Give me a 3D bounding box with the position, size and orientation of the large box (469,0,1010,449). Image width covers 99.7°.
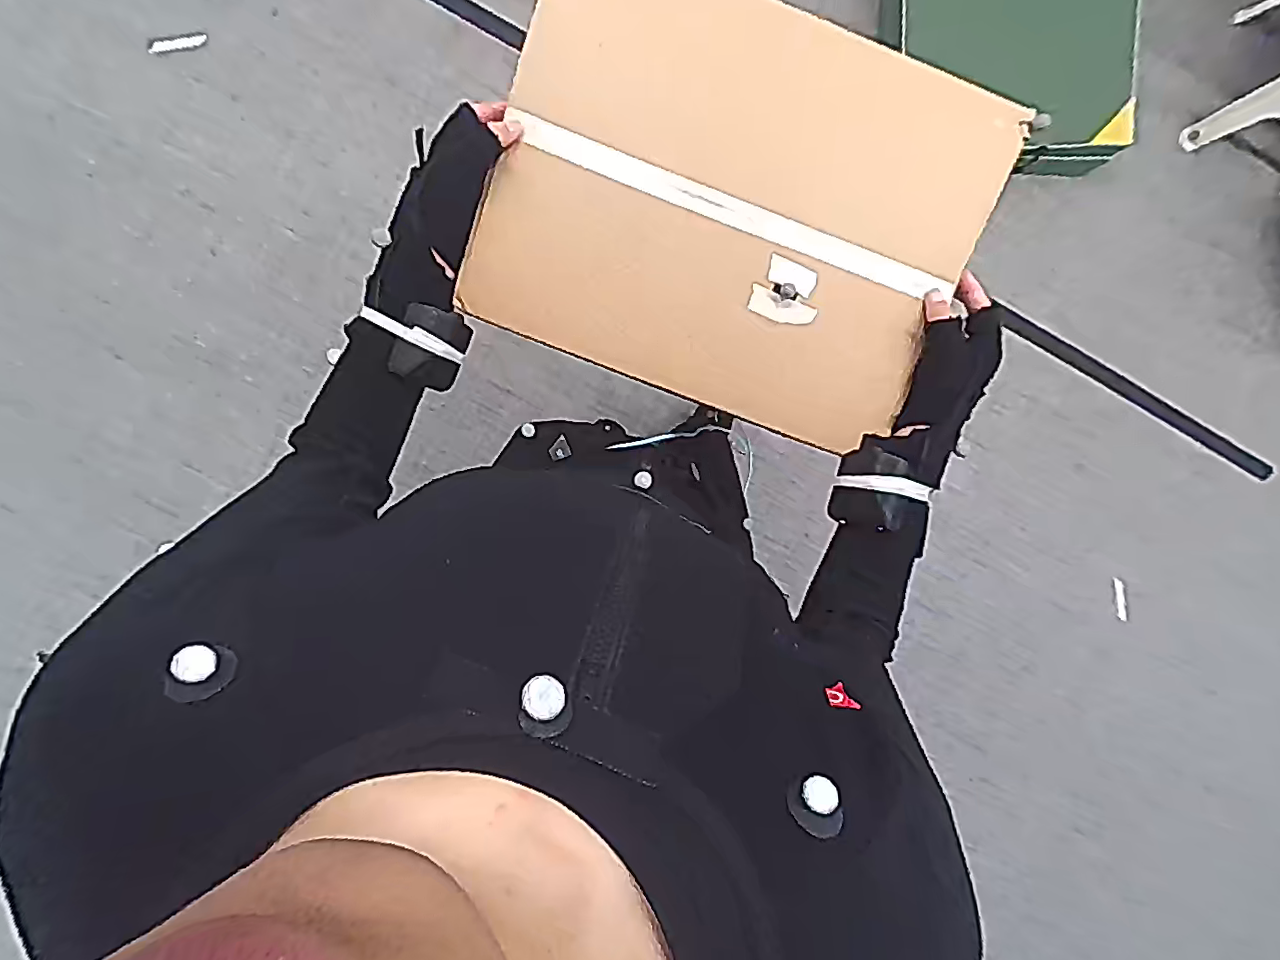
[{"bbox_3d":[0.077,-0.259,0.616,0.408,0.320,0.320,20,101,-5],"label":"large box"}]
